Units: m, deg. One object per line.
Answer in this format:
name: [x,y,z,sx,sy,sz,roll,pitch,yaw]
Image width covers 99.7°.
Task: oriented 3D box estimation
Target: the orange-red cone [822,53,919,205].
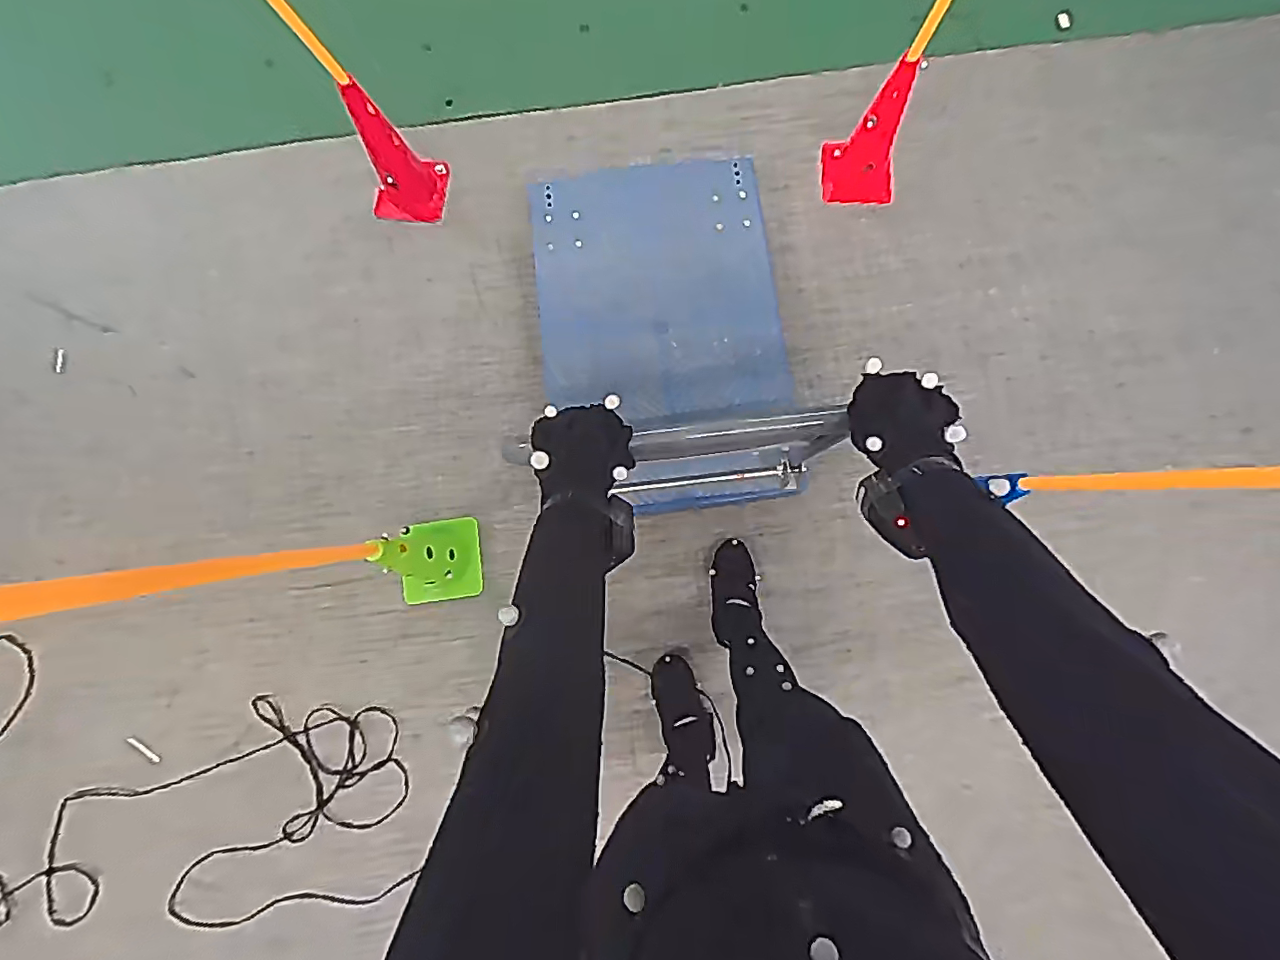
orange-red cone: [0.622,-0.916,1.396,0.198,0.360,0.199,4,80,3]
